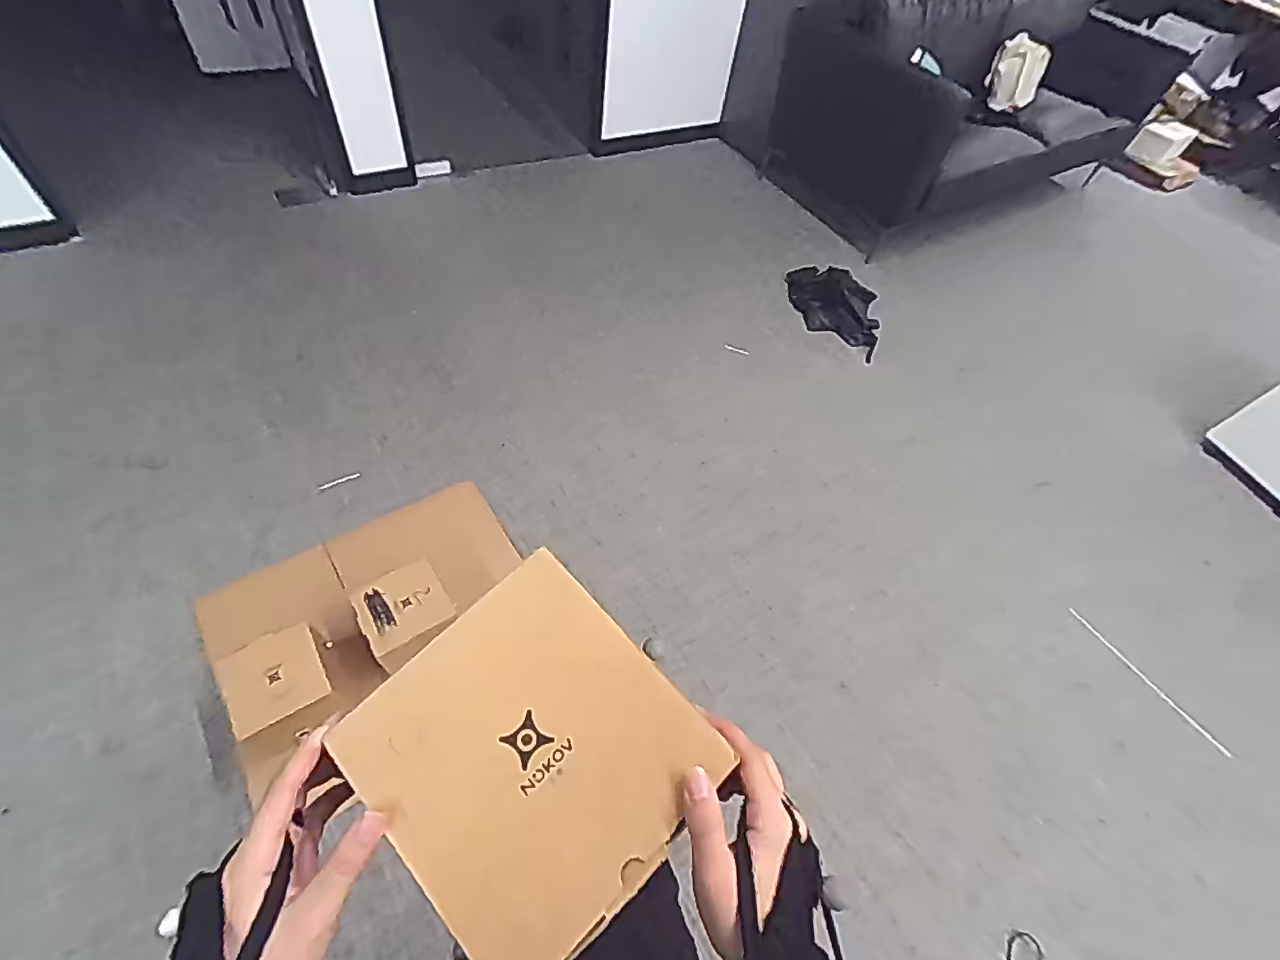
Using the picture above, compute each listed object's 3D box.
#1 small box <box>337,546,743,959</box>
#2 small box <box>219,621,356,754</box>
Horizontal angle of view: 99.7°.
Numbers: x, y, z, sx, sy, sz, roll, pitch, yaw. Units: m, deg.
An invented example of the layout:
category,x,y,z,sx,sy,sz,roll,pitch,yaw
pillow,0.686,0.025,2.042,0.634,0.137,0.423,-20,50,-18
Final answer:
category,x,y,z,sx,sy,sz,roll,pitch,yaw
small box,-0.060,0.181,0.379,0.168,0.176,0.179,-41,73,-18
small box,-0.710,0.426,1.103,0.168,0.176,0.179,-26,64,-24
